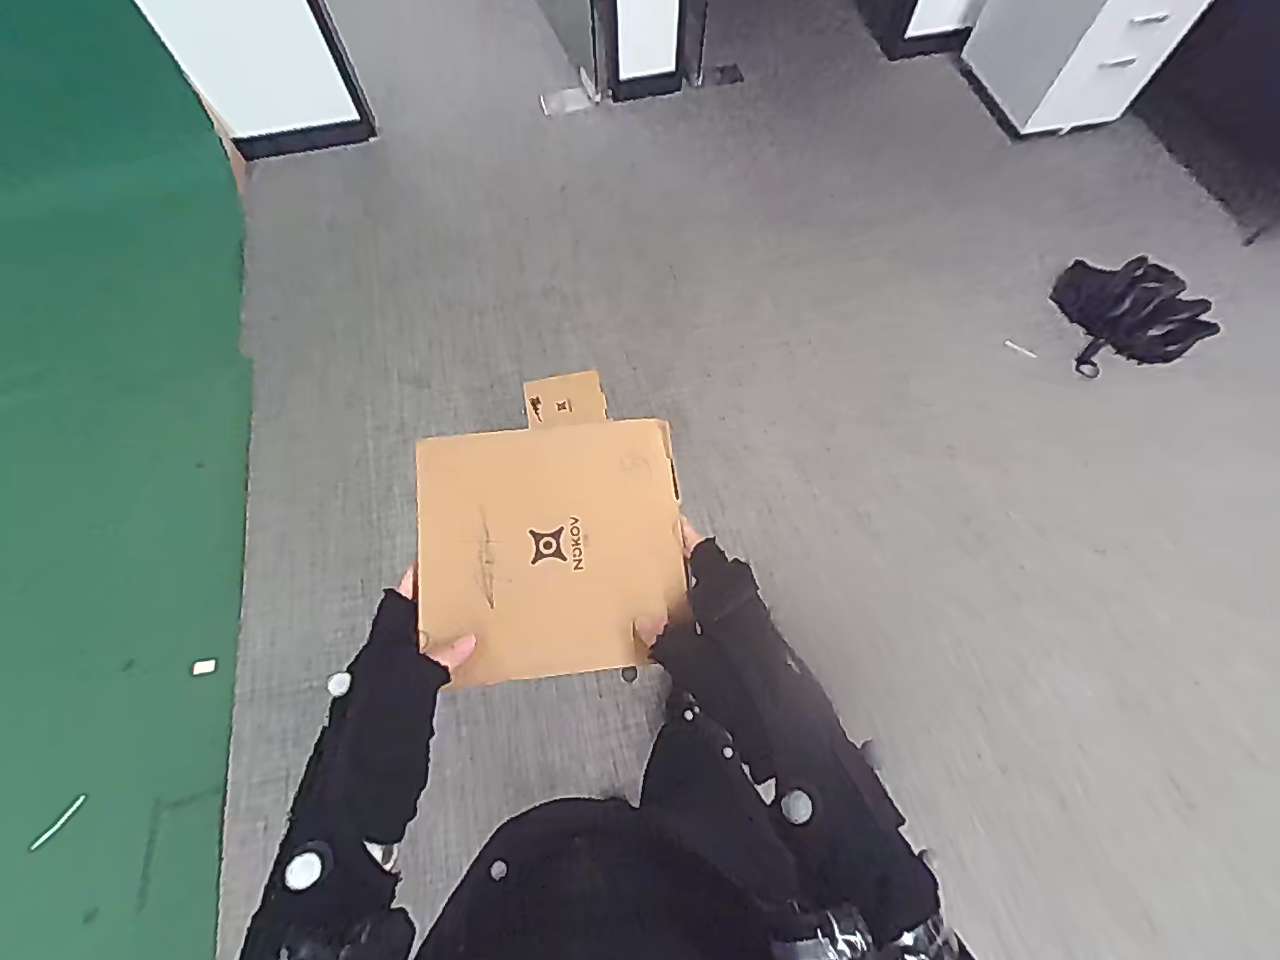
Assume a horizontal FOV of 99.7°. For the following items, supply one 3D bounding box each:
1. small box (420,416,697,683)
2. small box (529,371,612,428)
[{"bbox_3d":[-0.062,0.061,0.442,0.179,0.176,0.168,-7,75,-4],"label":"small box"},{"bbox_3d":[-0.157,-0.133,1.278,0.179,0.176,0.168,-9,67,-4],"label":"small box"}]
